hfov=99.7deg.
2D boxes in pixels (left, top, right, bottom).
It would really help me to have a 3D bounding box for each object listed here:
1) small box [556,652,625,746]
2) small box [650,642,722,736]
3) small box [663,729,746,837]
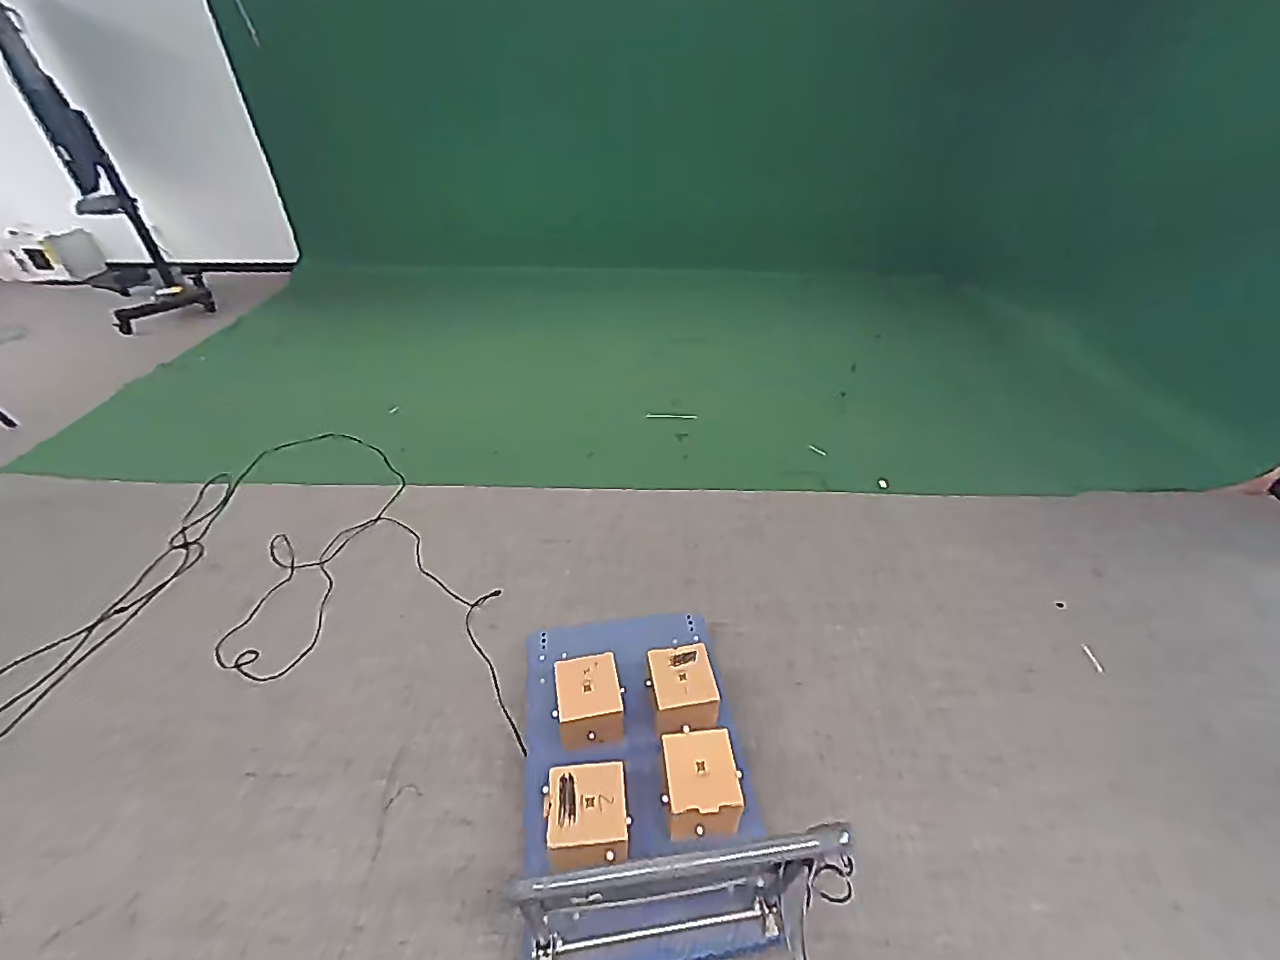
[{"bbox_3d":[-0.134,0.604,1.478,0.168,0.176,0.179,-7,40,-9],"label":"small box"},{"bbox_3d":[0.120,0.583,1.502,0.168,0.176,0.179,-7,41,-7],"label":"small box"},{"bbox_3d":[0.148,0.737,1.318,0.168,0.176,0.179,-4,40,-5],"label":"small box"}]
